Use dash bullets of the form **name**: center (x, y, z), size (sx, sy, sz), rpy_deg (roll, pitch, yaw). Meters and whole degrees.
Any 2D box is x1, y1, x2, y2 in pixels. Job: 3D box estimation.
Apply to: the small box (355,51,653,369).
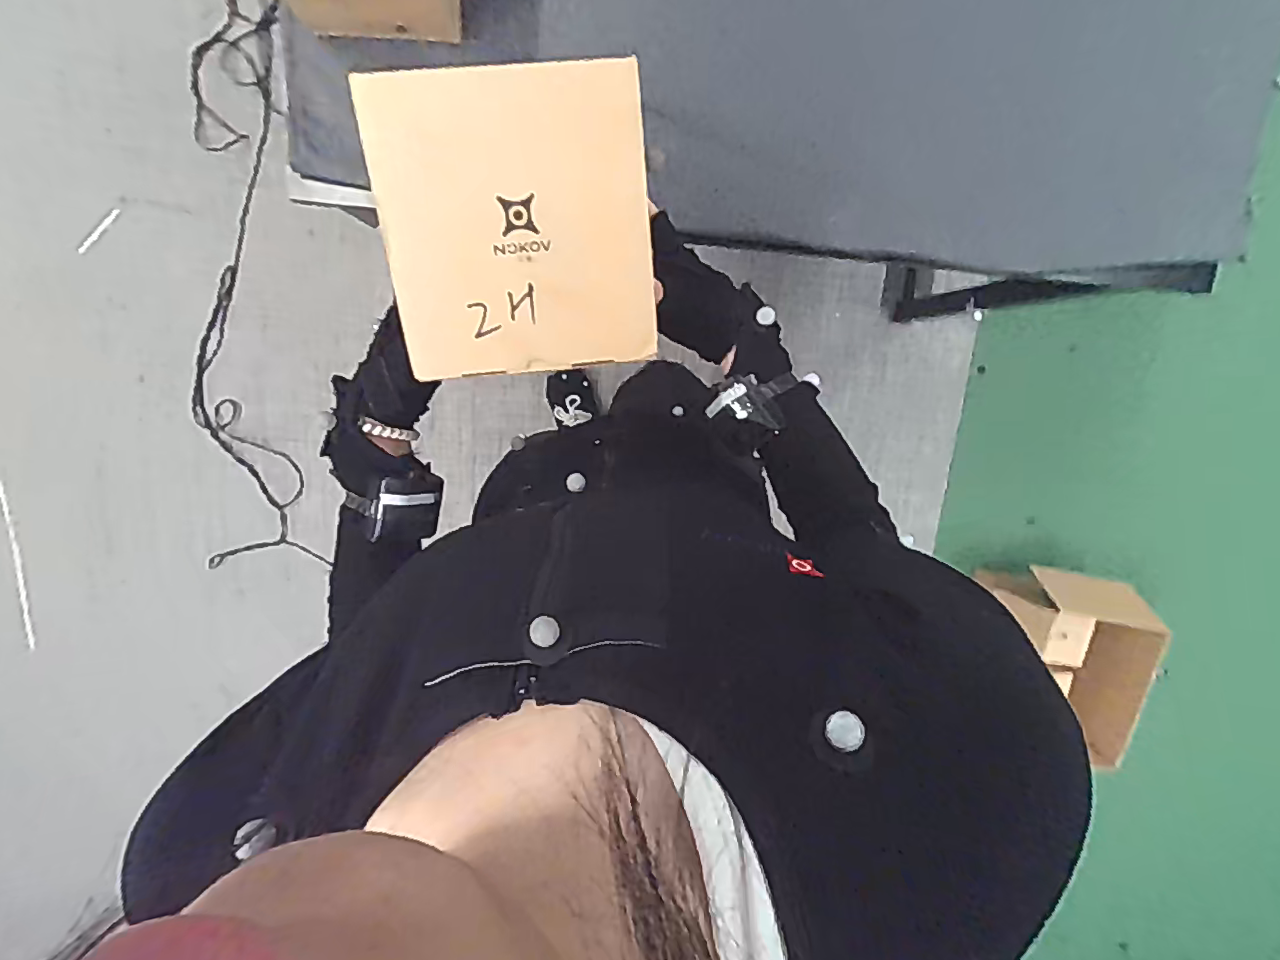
- **small box**: center (-0.084, -0.185, 0.410), size (0.168, 0.176, 0.179), rpy_deg (-5, 108, -3)
